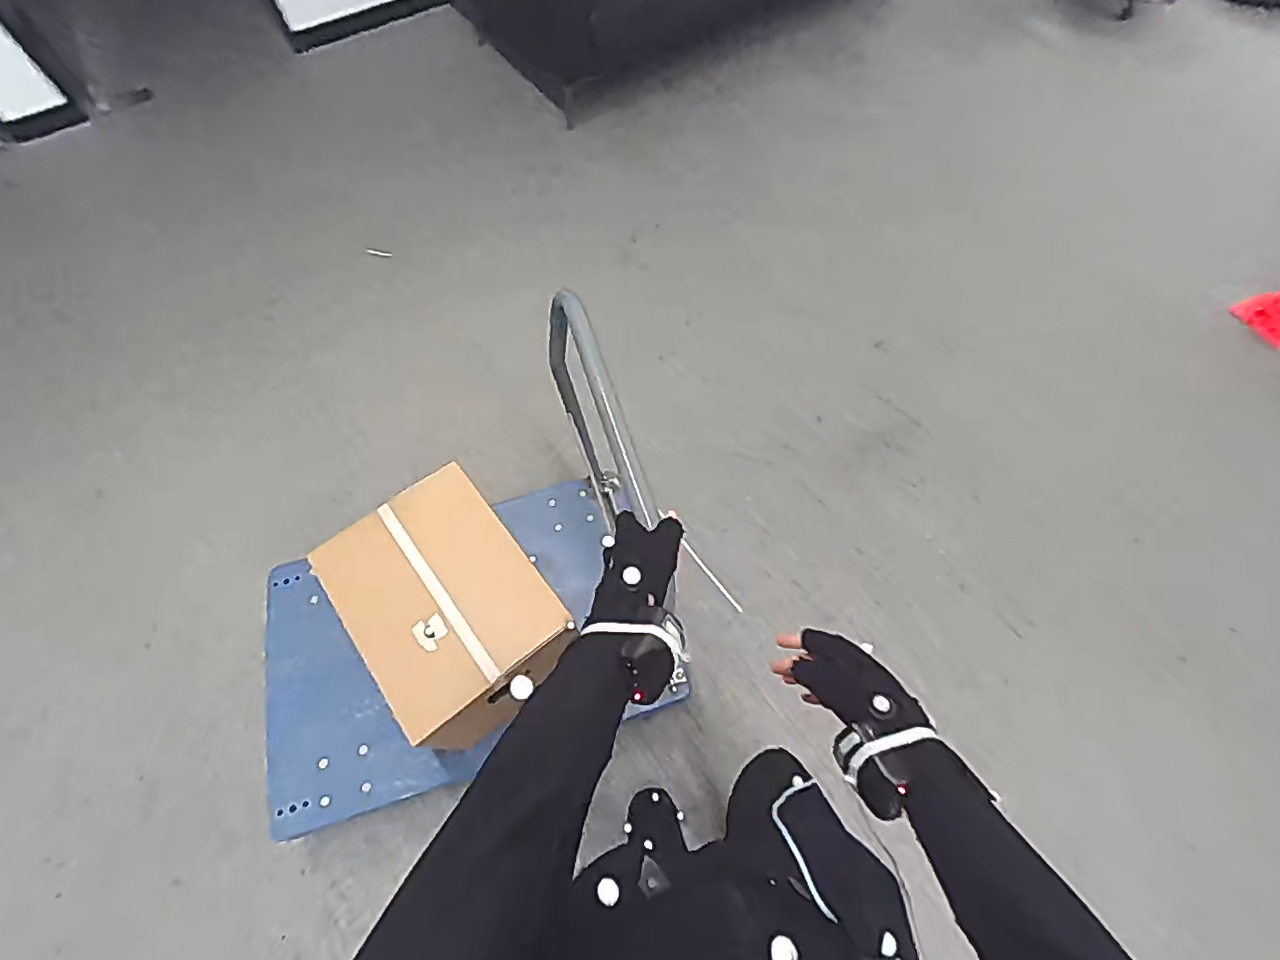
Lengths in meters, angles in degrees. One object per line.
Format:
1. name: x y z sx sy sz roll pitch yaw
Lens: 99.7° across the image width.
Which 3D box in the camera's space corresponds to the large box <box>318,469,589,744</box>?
1. large box: -0.350 0.261 1.098 0.320 0.320 0.408 -37 69 -16
